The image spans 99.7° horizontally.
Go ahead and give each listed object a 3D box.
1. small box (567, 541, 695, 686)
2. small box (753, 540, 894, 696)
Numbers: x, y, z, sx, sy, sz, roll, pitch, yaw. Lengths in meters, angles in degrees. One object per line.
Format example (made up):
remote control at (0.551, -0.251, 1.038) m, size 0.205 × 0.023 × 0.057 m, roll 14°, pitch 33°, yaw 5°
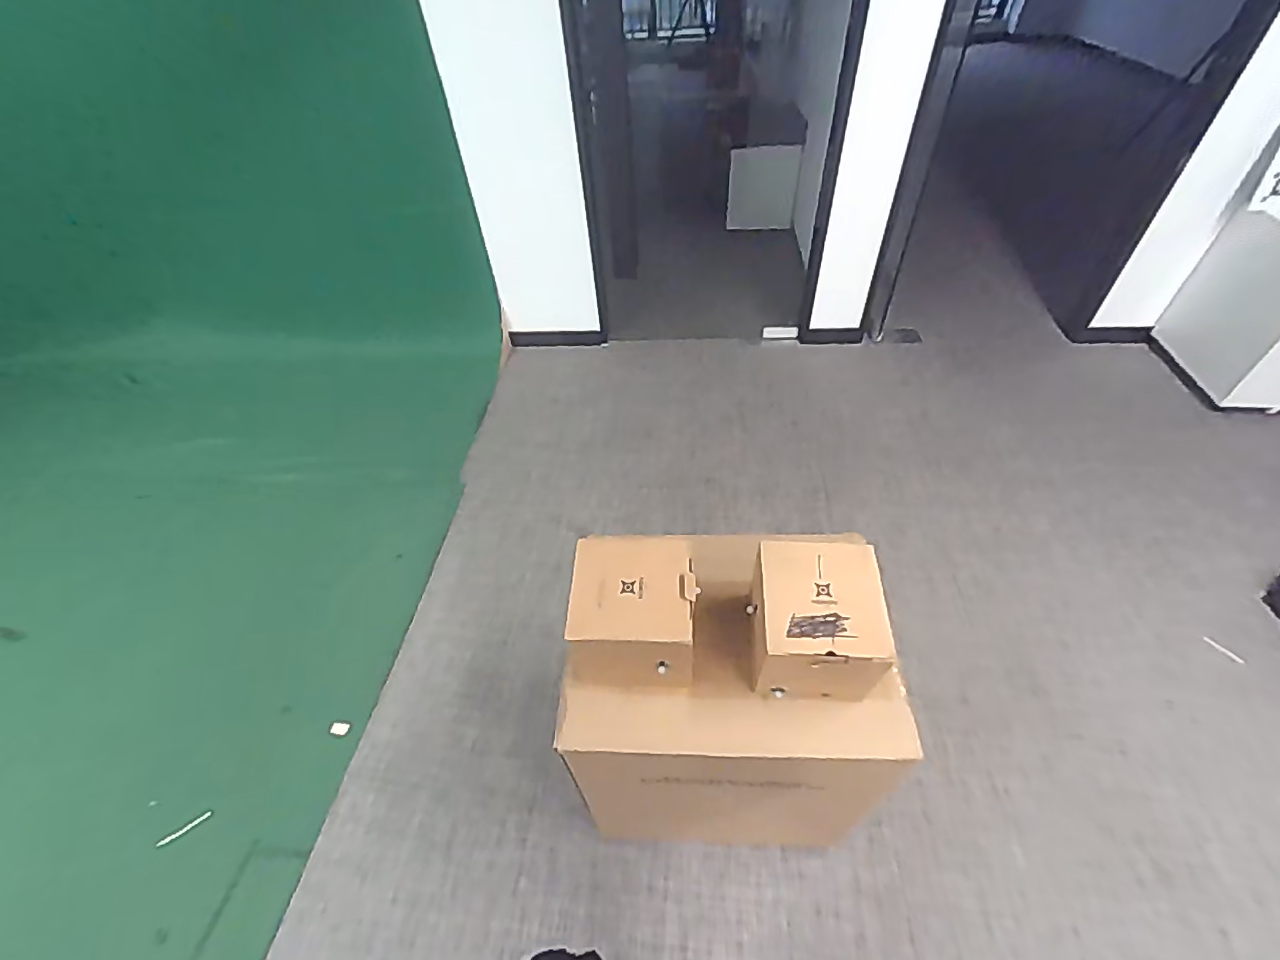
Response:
small box at (-0.003, 0.210, 0.843) m, size 0.179 × 0.176 × 0.168 m, roll -2°, pitch 49°, yaw 6°
small box at (0.261, 0.210, 0.812) m, size 0.168 × 0.176 × 0.179 m, roll 1°, pitch 51°, yaw 6°
